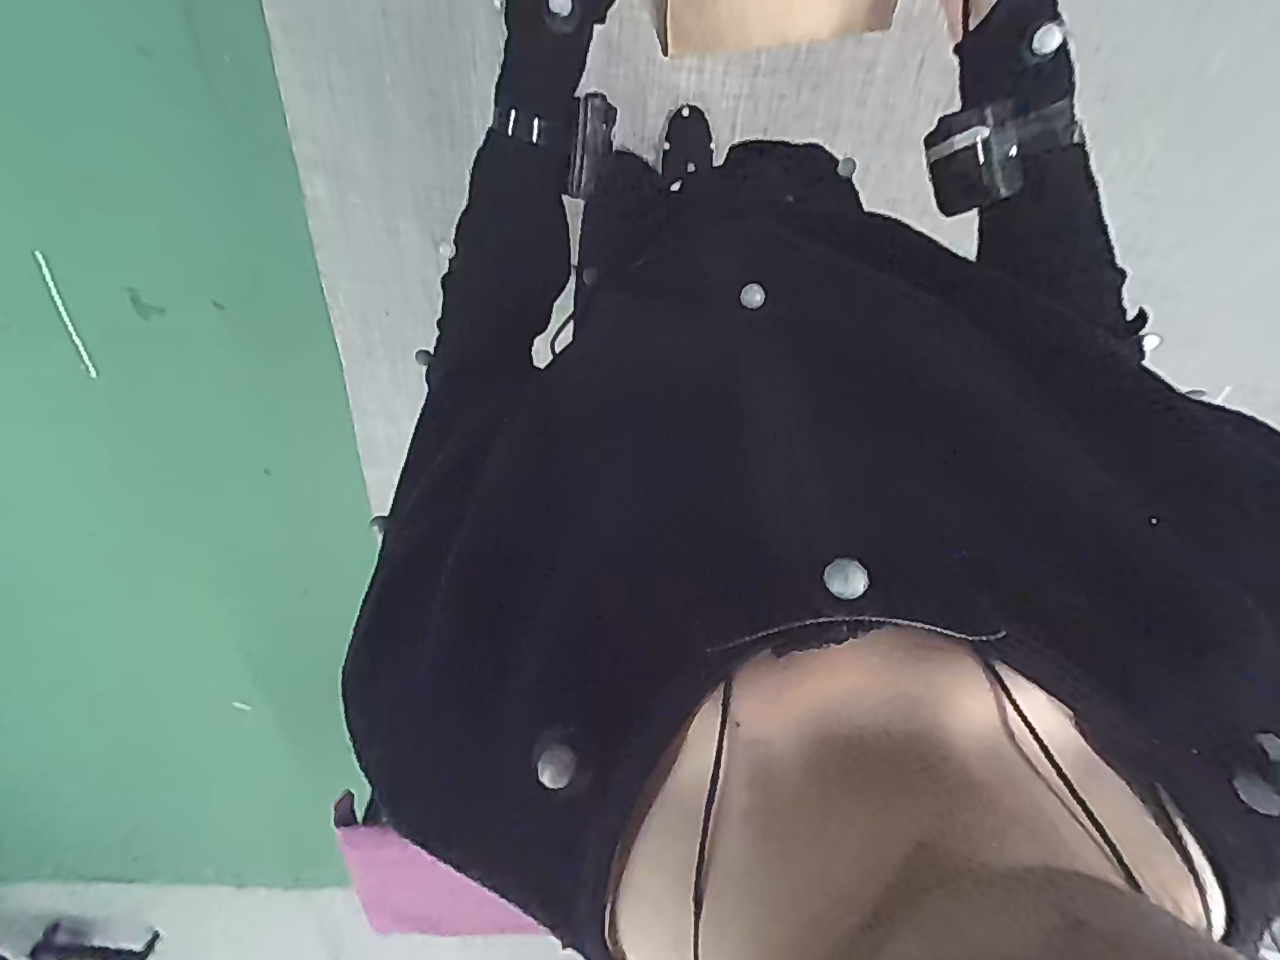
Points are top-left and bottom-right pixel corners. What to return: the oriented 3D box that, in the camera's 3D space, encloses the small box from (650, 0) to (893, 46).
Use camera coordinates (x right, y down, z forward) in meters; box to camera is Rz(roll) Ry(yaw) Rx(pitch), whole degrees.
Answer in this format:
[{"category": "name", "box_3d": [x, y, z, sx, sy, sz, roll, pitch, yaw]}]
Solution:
[{"category": "small box", "box_3d": [0.083, -0.440, 0.372, 0.179, 0.176, 0.168, -9, 149, 0]}]
